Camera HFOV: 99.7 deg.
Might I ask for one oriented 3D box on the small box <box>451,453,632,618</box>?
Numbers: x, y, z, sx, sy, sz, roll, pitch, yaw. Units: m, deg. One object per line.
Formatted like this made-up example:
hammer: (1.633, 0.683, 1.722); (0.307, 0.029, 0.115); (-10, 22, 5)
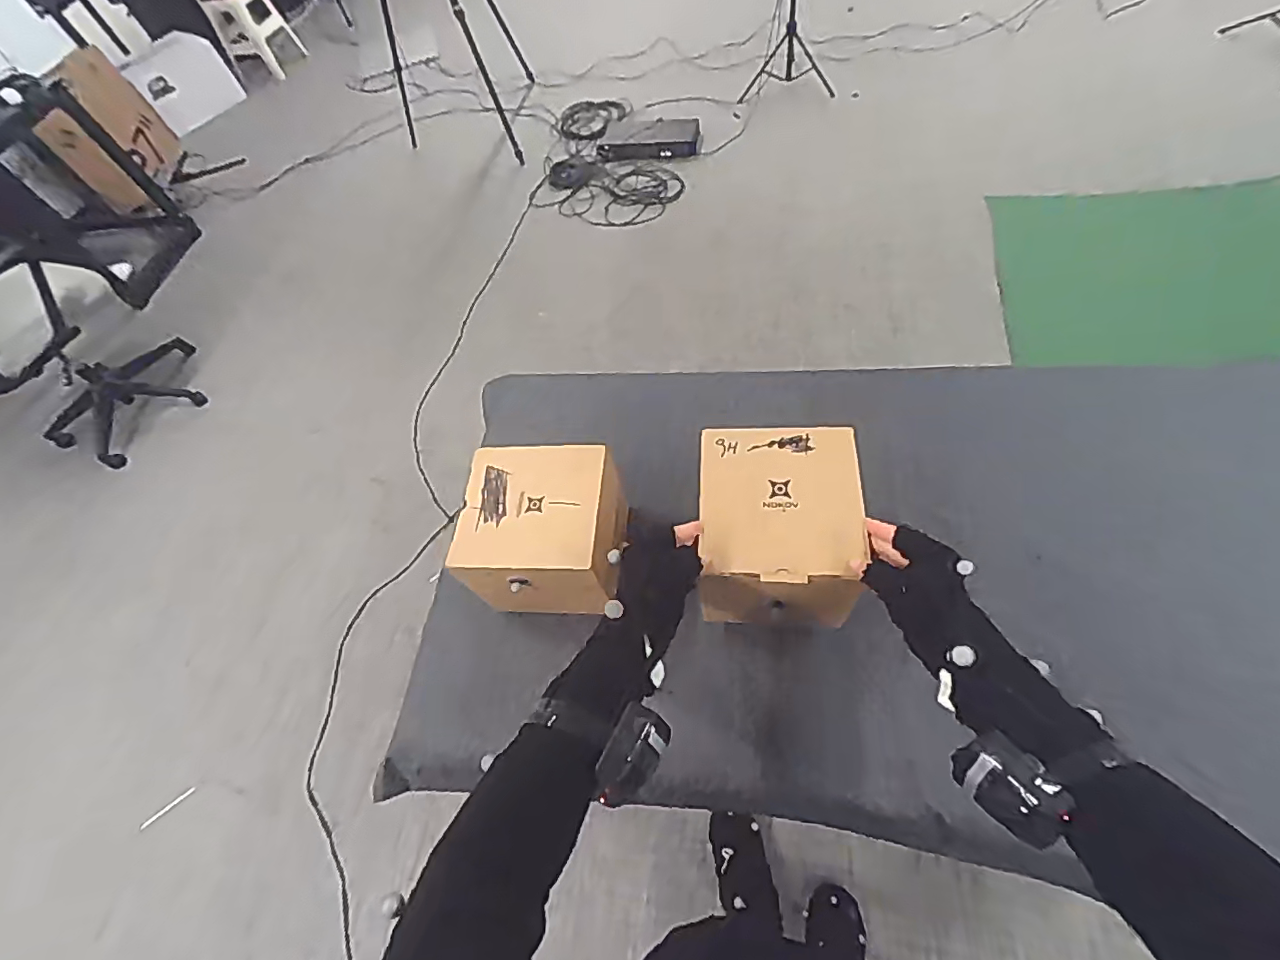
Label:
small box: (-0.115, 0.079, 0.716); (0.179, 0.176, 0.168); (-1, 59, 9)

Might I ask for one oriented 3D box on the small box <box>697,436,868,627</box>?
small box: (0.157, 0.067, 0.634); (0.168, 0.176, 0.179); (0, 60, 10)
